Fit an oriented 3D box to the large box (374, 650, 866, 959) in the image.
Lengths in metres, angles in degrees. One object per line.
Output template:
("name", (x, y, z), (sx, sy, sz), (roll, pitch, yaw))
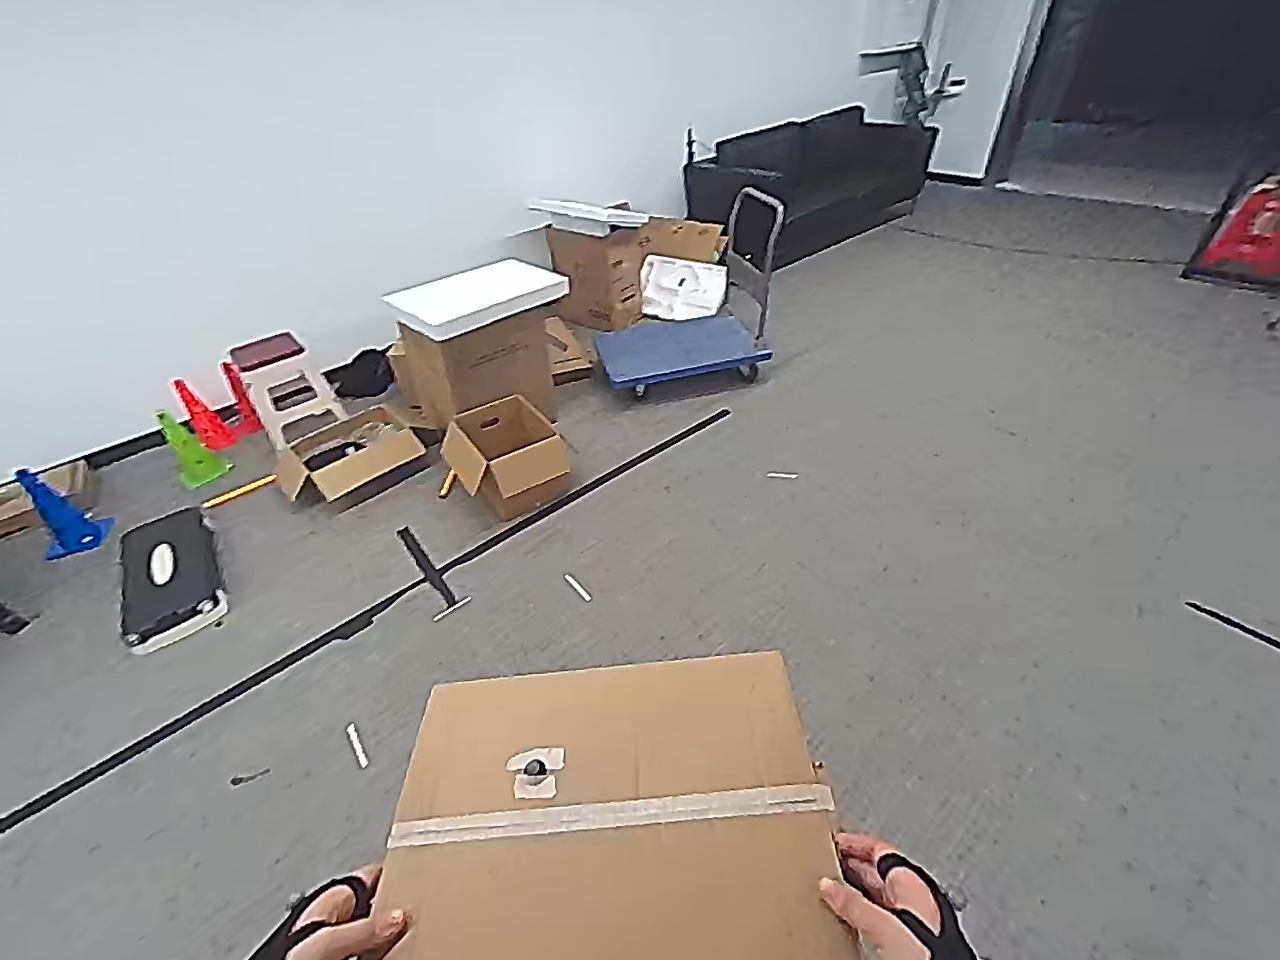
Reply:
("large box", (-0.006, 0.432, 0.603), (0.408, 0.320, 0.320), (-8, 38, 4))
